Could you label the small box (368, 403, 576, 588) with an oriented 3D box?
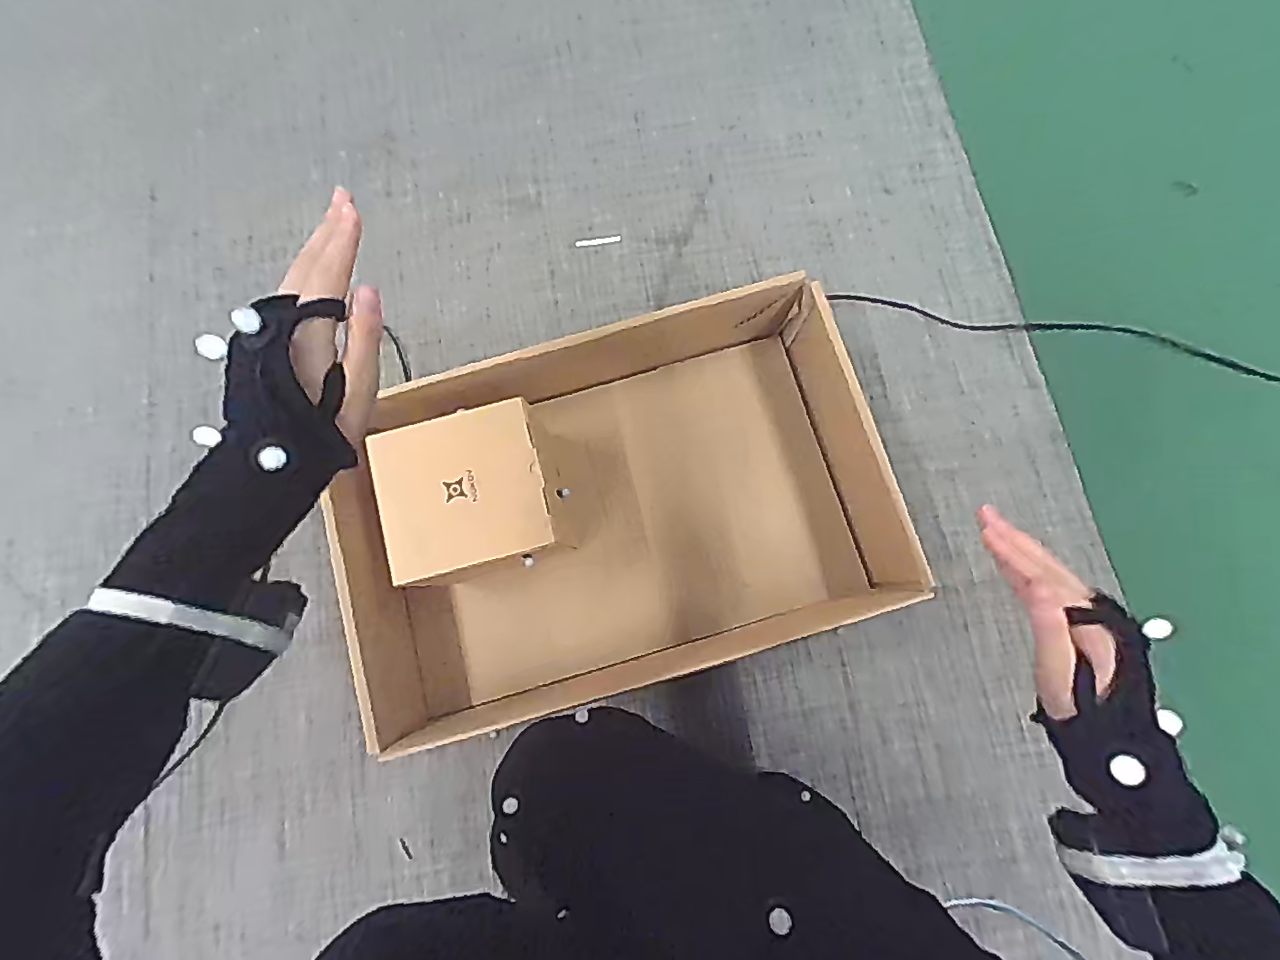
[{"bbox_3d":[-0.189,0.029,0.650,0.179,0.176,0.168,-16,80,-2],"label":"small box"}]
